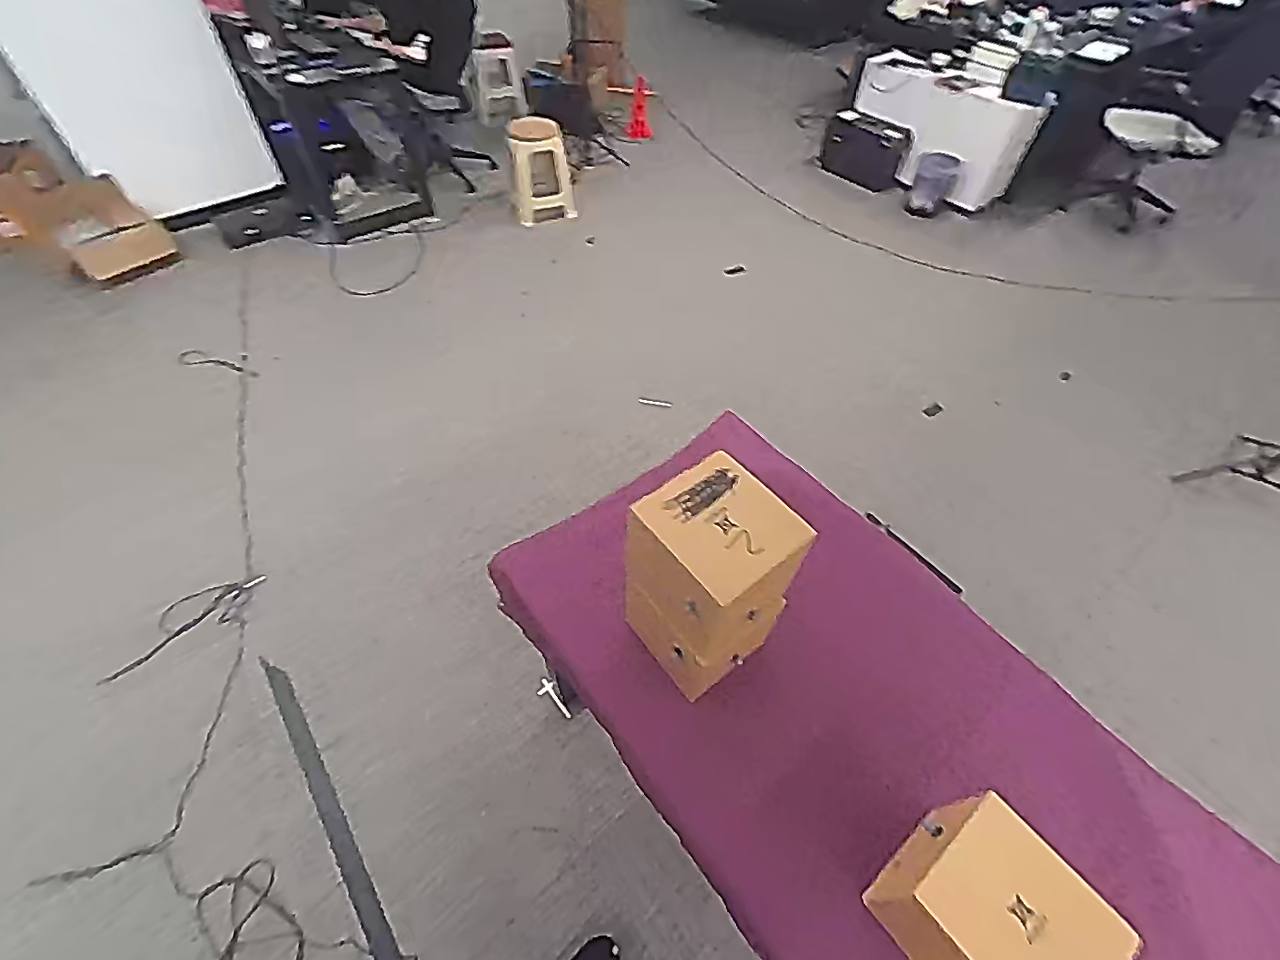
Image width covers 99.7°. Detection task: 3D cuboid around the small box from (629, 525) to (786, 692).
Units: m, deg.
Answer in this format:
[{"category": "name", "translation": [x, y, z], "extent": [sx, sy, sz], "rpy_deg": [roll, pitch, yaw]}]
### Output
[{"category": "small box", "translation": [0.097, 0.211, 0.859], "extent": [0.168, 0.176, 0.179], "rpy_deg": [-29, 59, -23]}]

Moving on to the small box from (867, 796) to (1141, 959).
[{"category": "small box", "translation": [0.405, 0.517, 0.635], "extent": [0.168, 0.176, 0.179], "rpy_deg": [-30, 59, -23]}]
